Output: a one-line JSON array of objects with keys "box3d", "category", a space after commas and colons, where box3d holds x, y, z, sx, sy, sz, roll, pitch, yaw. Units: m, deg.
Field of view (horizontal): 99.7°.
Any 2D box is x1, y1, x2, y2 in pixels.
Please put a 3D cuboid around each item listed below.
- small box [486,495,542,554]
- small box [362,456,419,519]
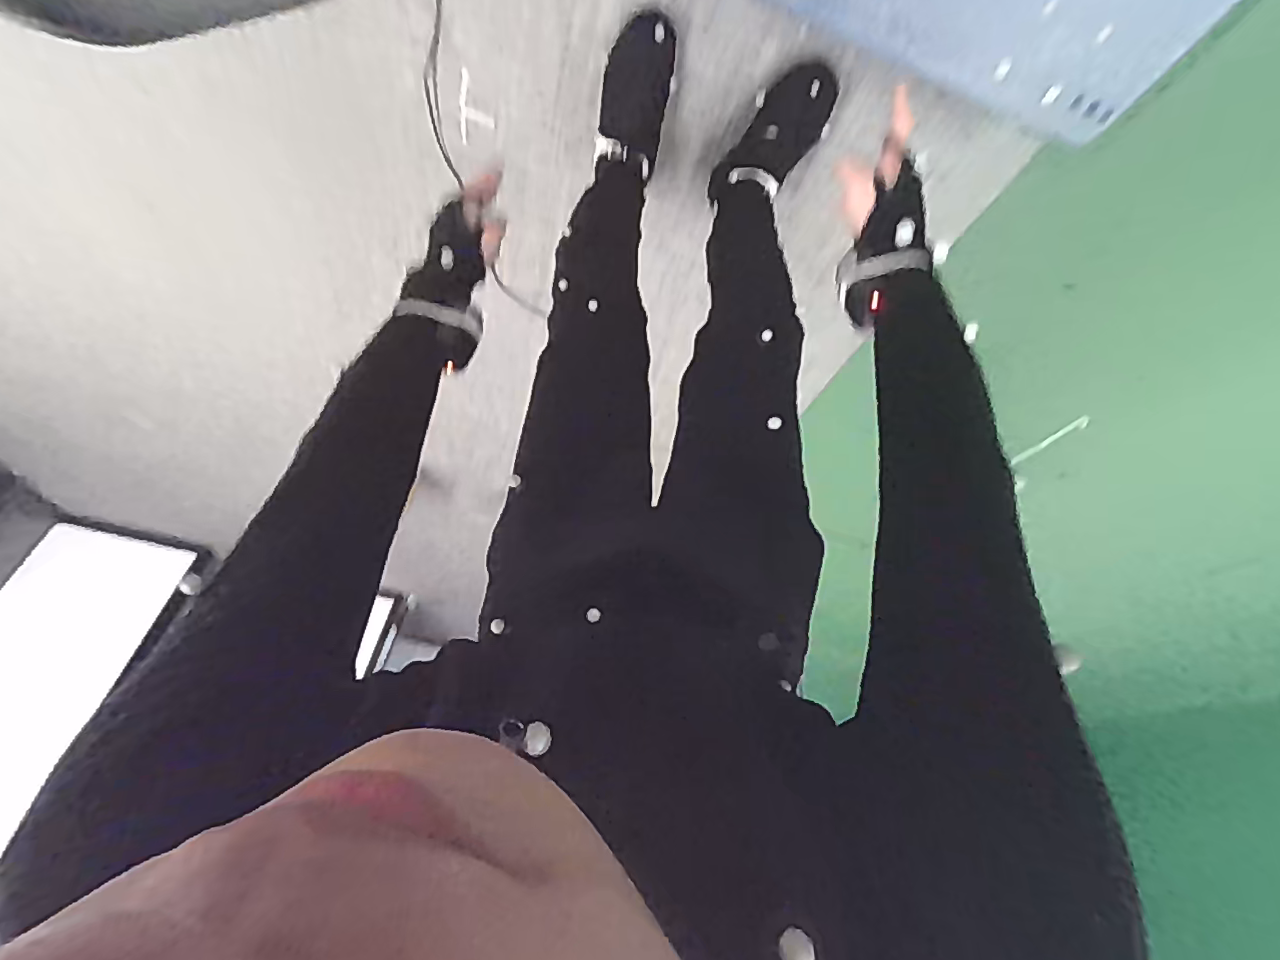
[{"box3d": [-0.523, 0.185, 2.258, 0.179, 0.176, 0.168, 20, 145, -14], "category": "small box"}, {"box3d": [-1.001, 0.034, 2.155, 0.168, 0.176, 0.179, 22, 144, -21], "category": "small box"}]
